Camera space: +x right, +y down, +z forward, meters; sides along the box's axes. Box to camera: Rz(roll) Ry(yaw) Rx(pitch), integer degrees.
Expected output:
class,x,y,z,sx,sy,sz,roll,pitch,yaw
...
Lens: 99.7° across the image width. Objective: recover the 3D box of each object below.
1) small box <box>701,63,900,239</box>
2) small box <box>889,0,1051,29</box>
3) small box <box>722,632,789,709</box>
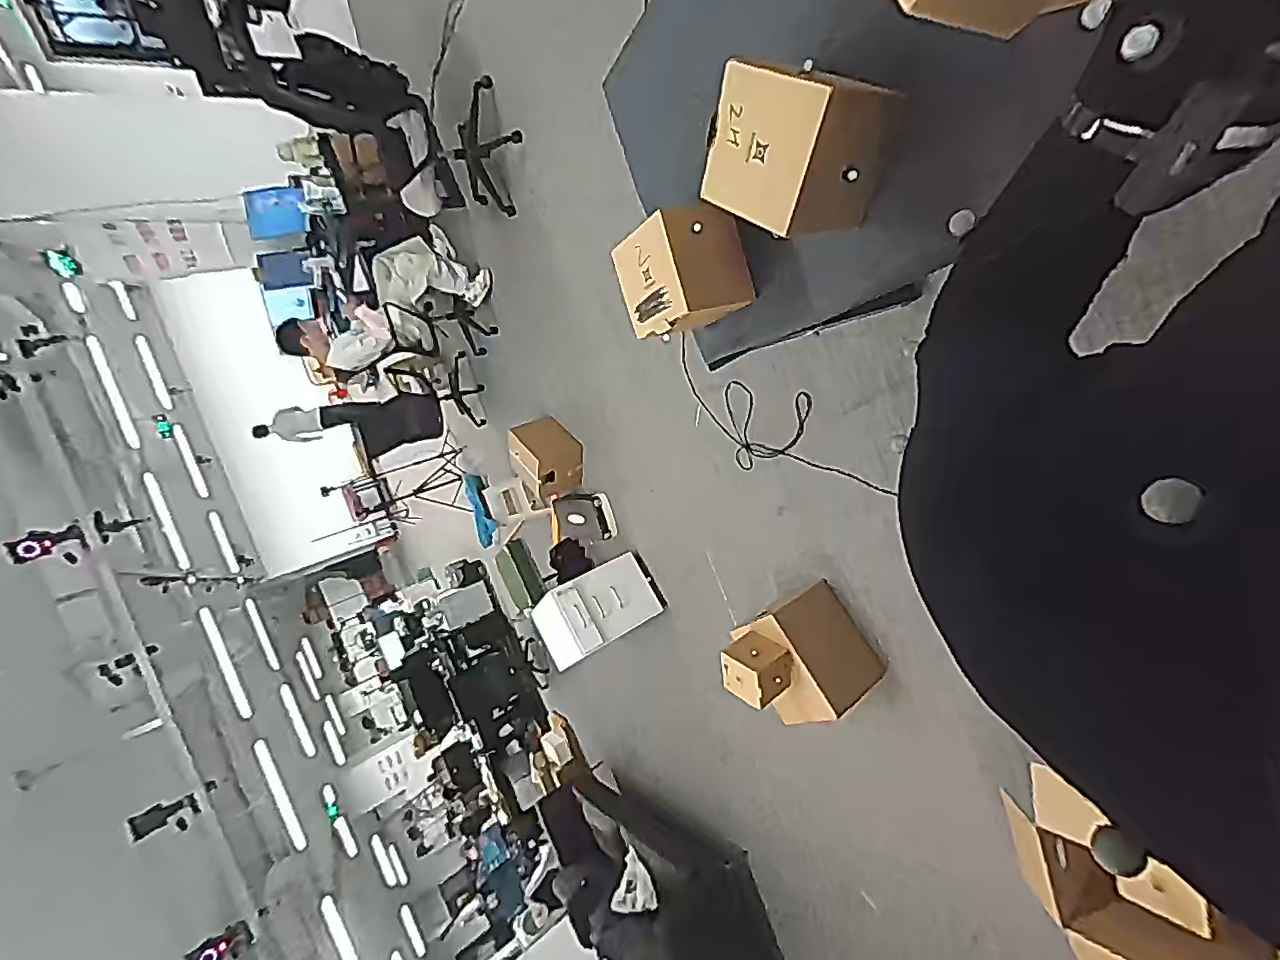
class,x,y,z,sx,sy,sz,roll,pitch,yaw
small box,0.216,-0.453,0.746,0.179,0.176,0.168,46,142,33
small box,0.257,-0.455,0.366,0.168,0.176,0.179,-27,86,60
small box,0.423,0.679,1.955,0.179,0.176,0.168,17,122,50
